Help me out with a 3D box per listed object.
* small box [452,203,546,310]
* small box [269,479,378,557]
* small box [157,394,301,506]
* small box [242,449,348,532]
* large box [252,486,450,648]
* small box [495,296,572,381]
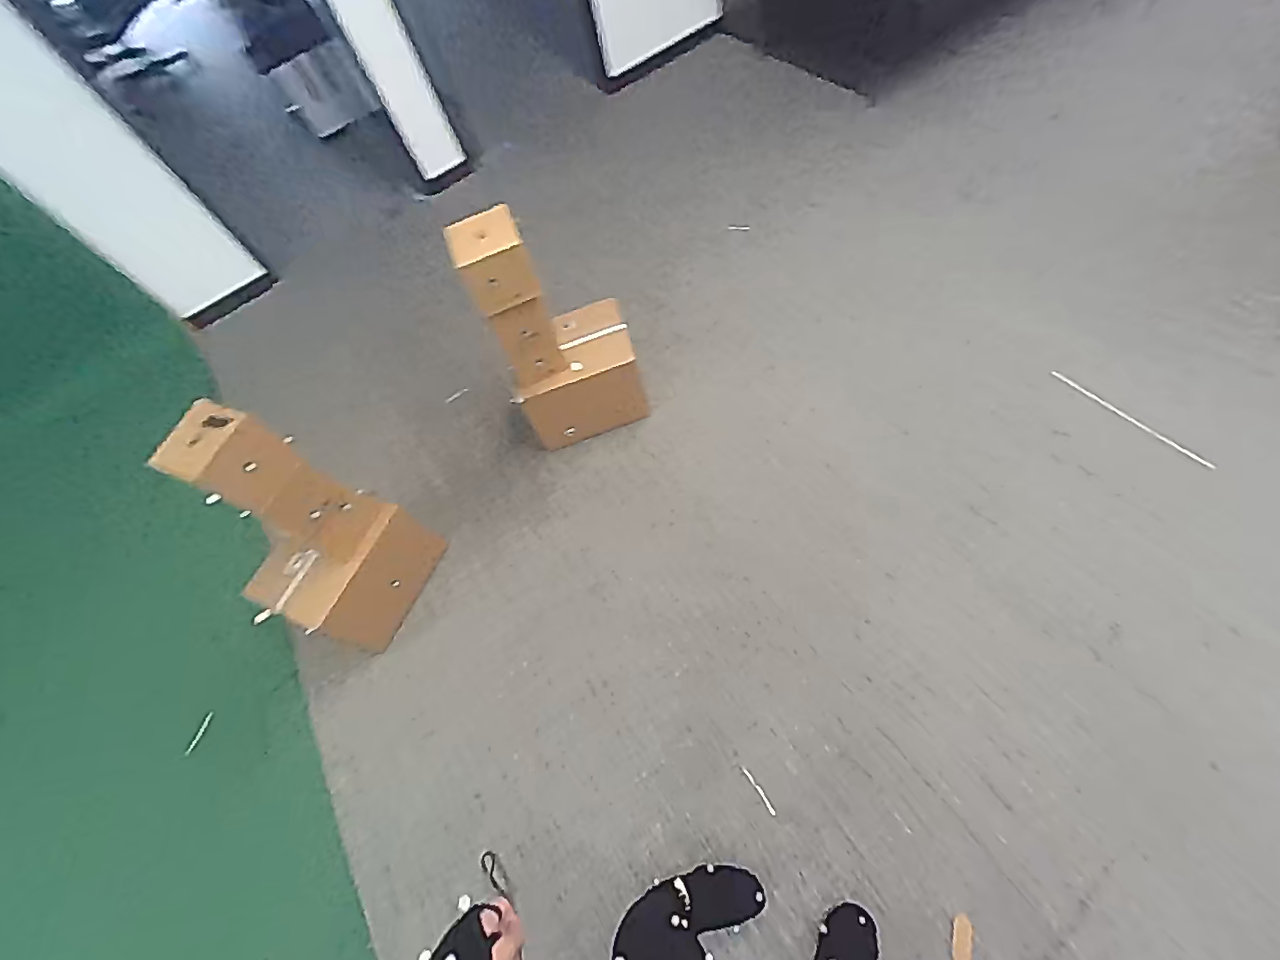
[{"bbox_3d":[-0.362,-0.570,1.405,0.168,0.176,0.179,-23,59,-1],"label":"small box"},{"bbox_3d":[-0.878,0.092,1.523,0.168,0.176,0.179,16,66,20],"label":"small box"},{"bbox_3d":[-0.926,-0.066,1.242,0.168,0.176,0.179,16,67,20],"label":"small box"},{"bbox_3d":[-0.901,0.014,1.382,0.179,0.176,0.168,18,67,20],"label":"small box"},{"bbox_3d":[-0.887,0.264,1.716,0.320,0.320,0.408,16,66,22],"label":"large box"},{"bbox_3d":[-0.331,-0.437,1.704,0.168,0.176,0.179,-25,60,-3],"label":"small box"}]
